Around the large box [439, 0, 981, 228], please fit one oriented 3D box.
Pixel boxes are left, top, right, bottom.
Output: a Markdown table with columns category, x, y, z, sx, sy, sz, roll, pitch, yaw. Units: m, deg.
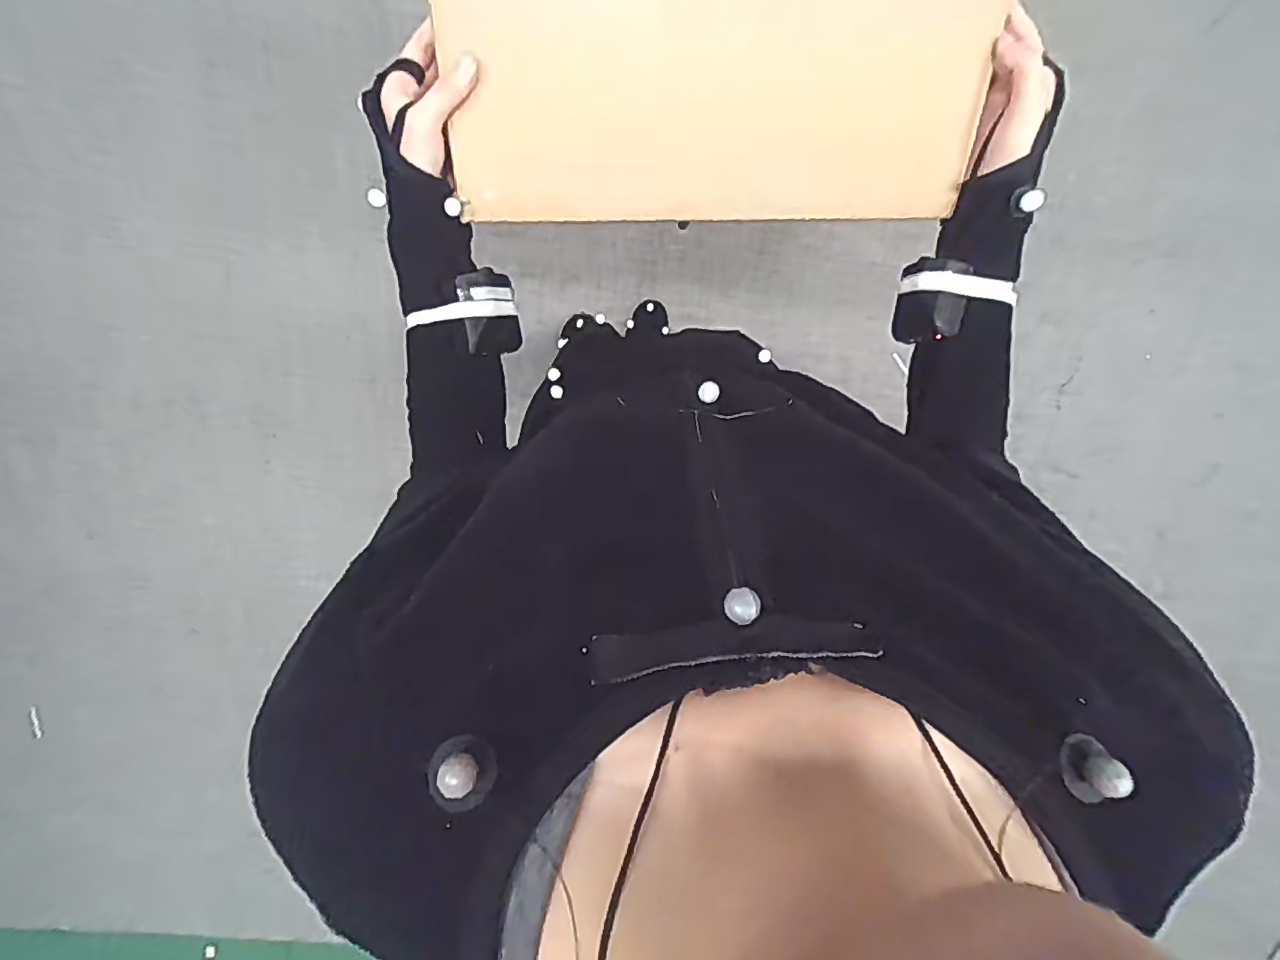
| category | x | y | z | sx | sy | sz | roll | pitch | yaw |
| --- | --- | --- | --- | --- | --- | --- | --- | --- | --- |
| large box | 0.047 | -0.425 | 0.513 | 0.408 | 0.320 | 0.320 | -2 | 118 | -3 |
